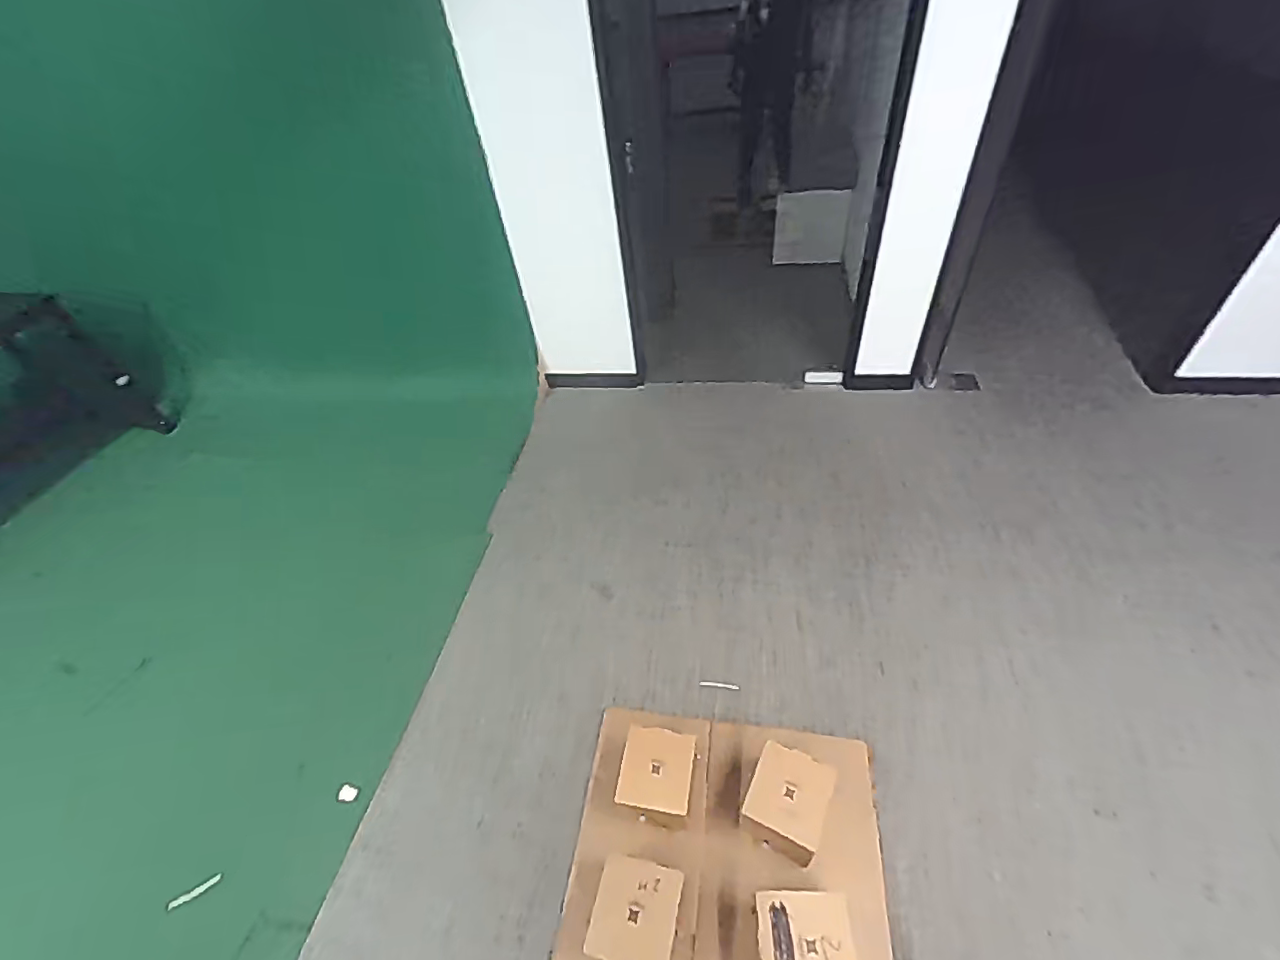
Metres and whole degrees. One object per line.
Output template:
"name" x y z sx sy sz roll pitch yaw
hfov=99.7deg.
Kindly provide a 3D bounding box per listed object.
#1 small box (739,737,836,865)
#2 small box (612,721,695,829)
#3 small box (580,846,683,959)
"small box" 0.332 0.735 1.238 0.168 0.176 0.179 18 50 24
"small box" 0.042 0.714 1.304 0.168 0.176 0.179 5 46 12
"small box" -0.008 0.901 1.122 0.168 0.176 0.179 8 47 15
